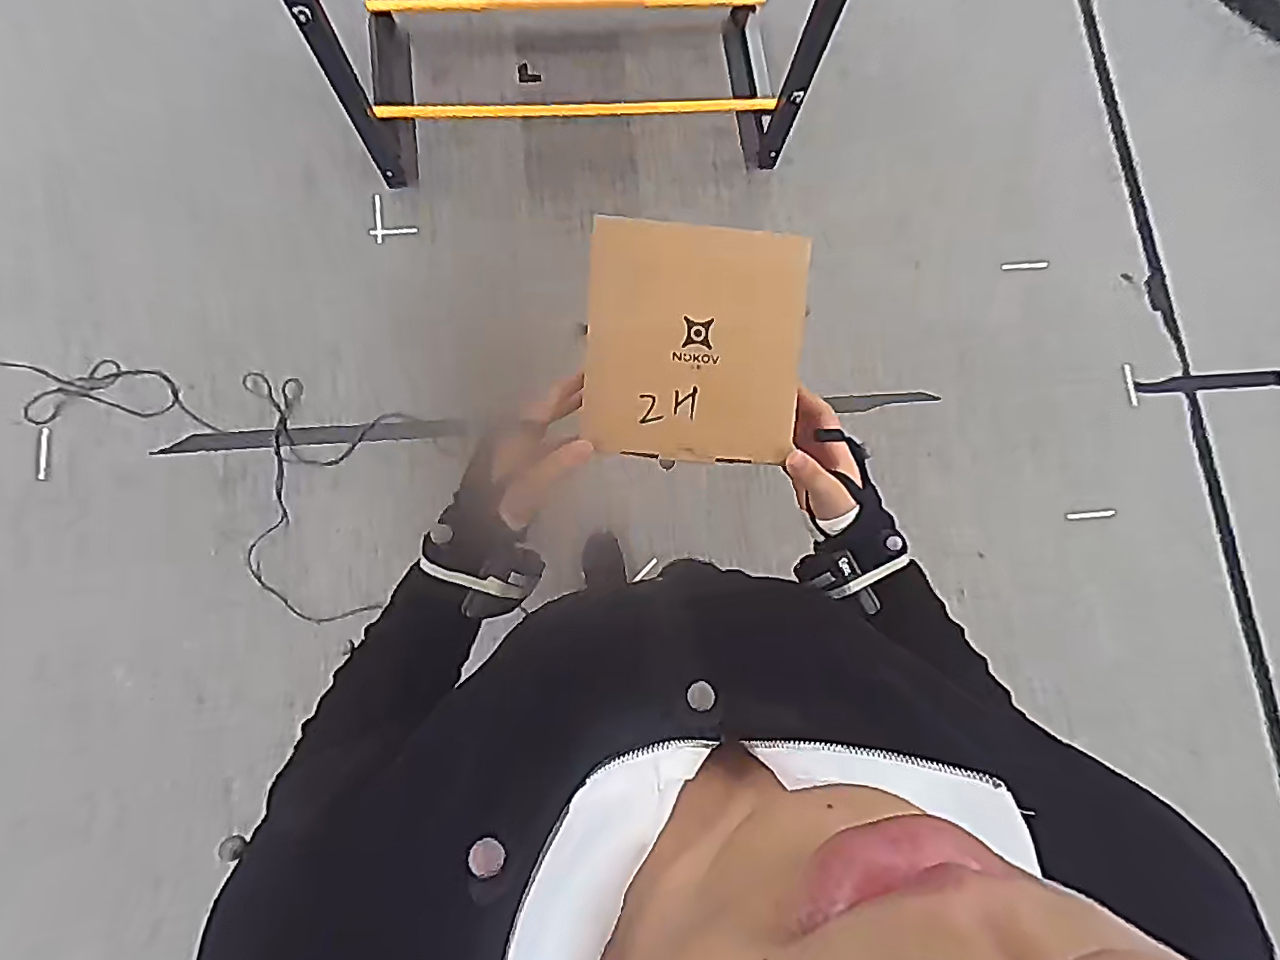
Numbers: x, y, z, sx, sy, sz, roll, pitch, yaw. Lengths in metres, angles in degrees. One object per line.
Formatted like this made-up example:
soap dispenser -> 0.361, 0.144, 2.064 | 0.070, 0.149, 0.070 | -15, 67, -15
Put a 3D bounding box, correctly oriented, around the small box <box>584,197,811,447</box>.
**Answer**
small box -> 0.039, -0.124, 0.490 | 0.168, 0.176, 0.179 | 4, 95, -4
